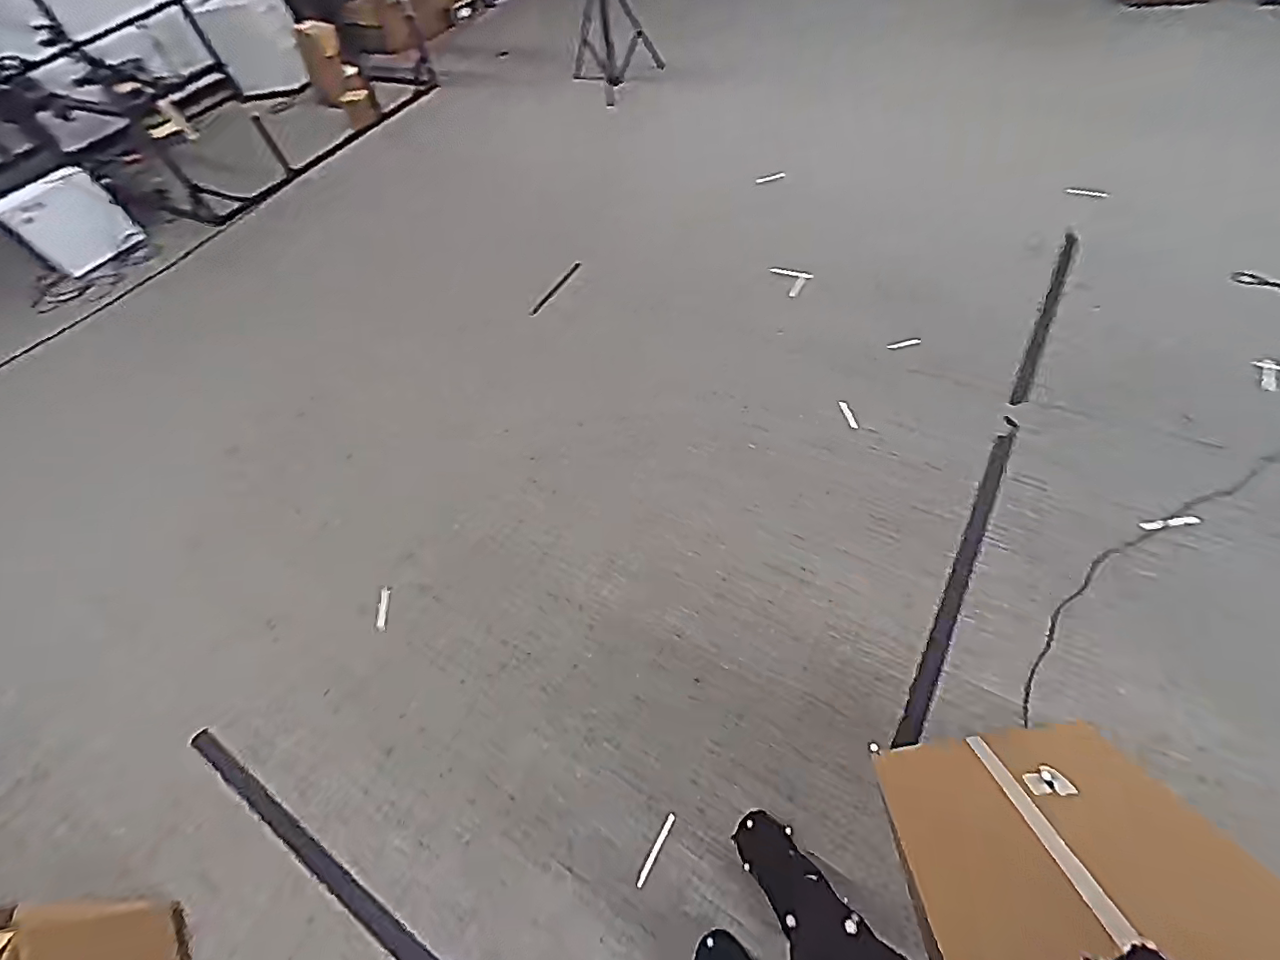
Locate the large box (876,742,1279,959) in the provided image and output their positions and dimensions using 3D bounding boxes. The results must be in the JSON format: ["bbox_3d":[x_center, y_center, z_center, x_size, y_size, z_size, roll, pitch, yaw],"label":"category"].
[{"bbox_3d":[0.520,0.578,0.642,0.320,0.408,0.320,-14,88,13],"label":"large box"}]
